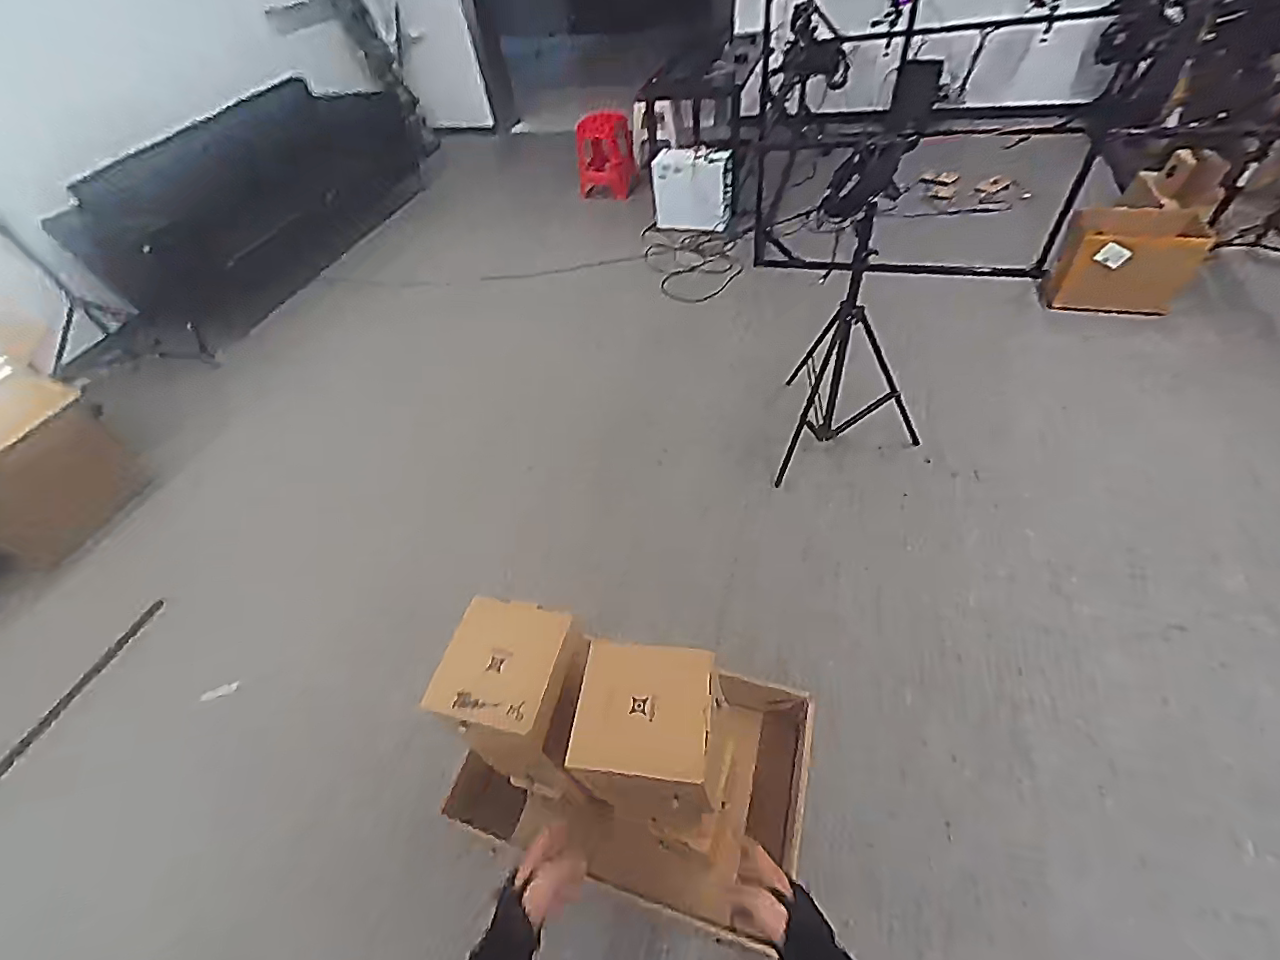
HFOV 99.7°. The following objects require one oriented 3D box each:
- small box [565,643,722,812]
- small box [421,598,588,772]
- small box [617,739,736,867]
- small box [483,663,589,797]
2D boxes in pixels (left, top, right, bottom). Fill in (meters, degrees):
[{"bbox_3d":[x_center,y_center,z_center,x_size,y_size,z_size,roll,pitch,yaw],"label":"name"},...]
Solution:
[{"bbox_3d":[0.019,0.345,0.751,0.179,0.176,0.168,-1,48,15],"label":"small box"},{"bbox_3d":[-0.187,0.307,0.814,0.168,0.176,0.179,6,49,16],"label":"small box"},{"bbox_3d":[0.077,0.568,0.984,0.168,0.176,0.179,9,51,21],"label":"small box"},{"bbox_3d":[-0.161,0.417,0.935,0.168,0.176,0.179,7,51,15],"label":"small box"}]
